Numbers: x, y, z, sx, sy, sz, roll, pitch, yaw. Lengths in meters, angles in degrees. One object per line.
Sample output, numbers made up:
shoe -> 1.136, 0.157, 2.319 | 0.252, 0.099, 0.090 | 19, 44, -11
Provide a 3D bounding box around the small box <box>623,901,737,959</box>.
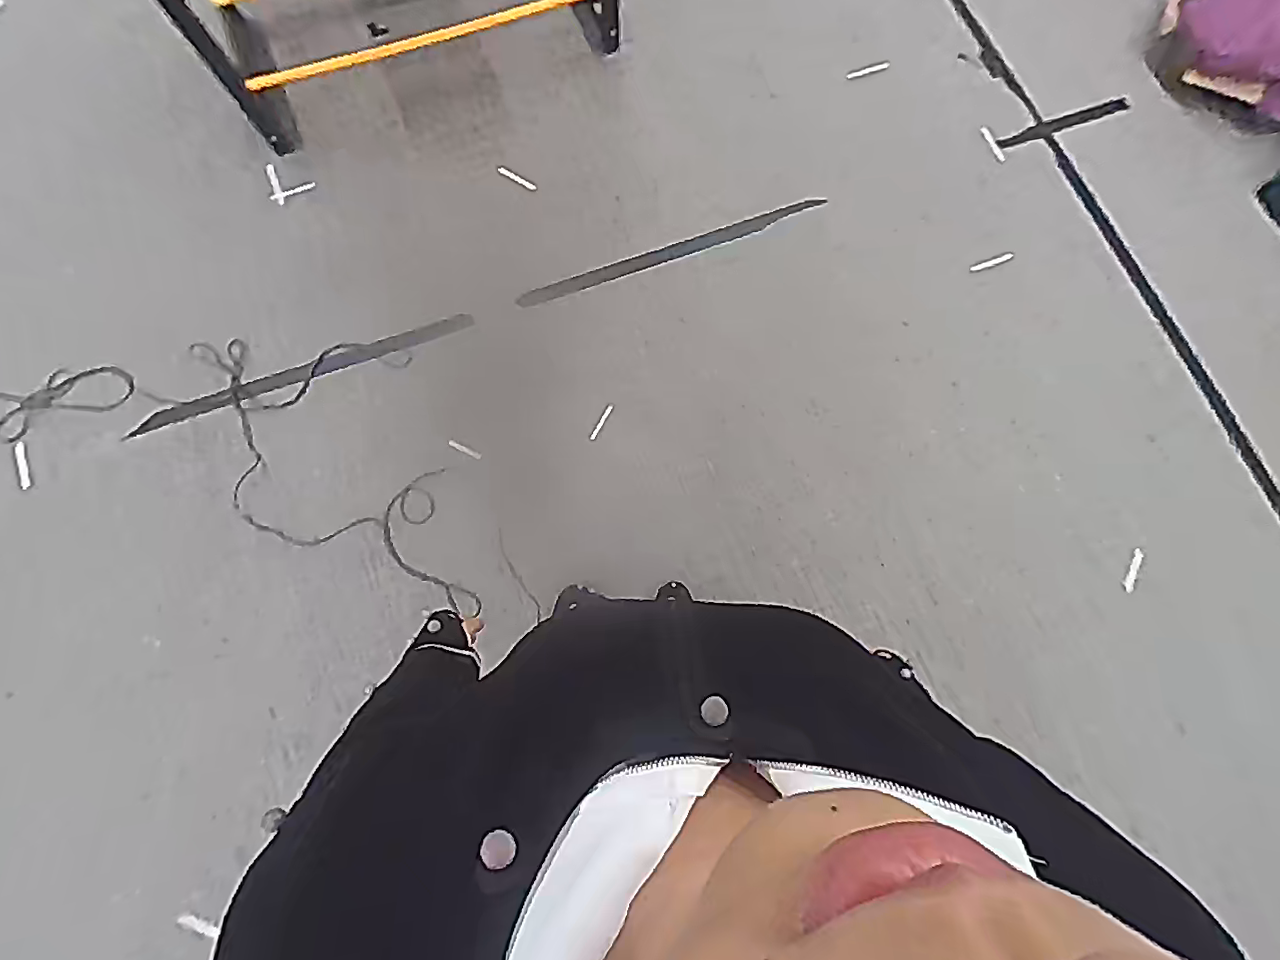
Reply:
small box -> 0.074, 0.787, 0.821 | 0.168, 0.176, 0.179 | -21, 78, -4
